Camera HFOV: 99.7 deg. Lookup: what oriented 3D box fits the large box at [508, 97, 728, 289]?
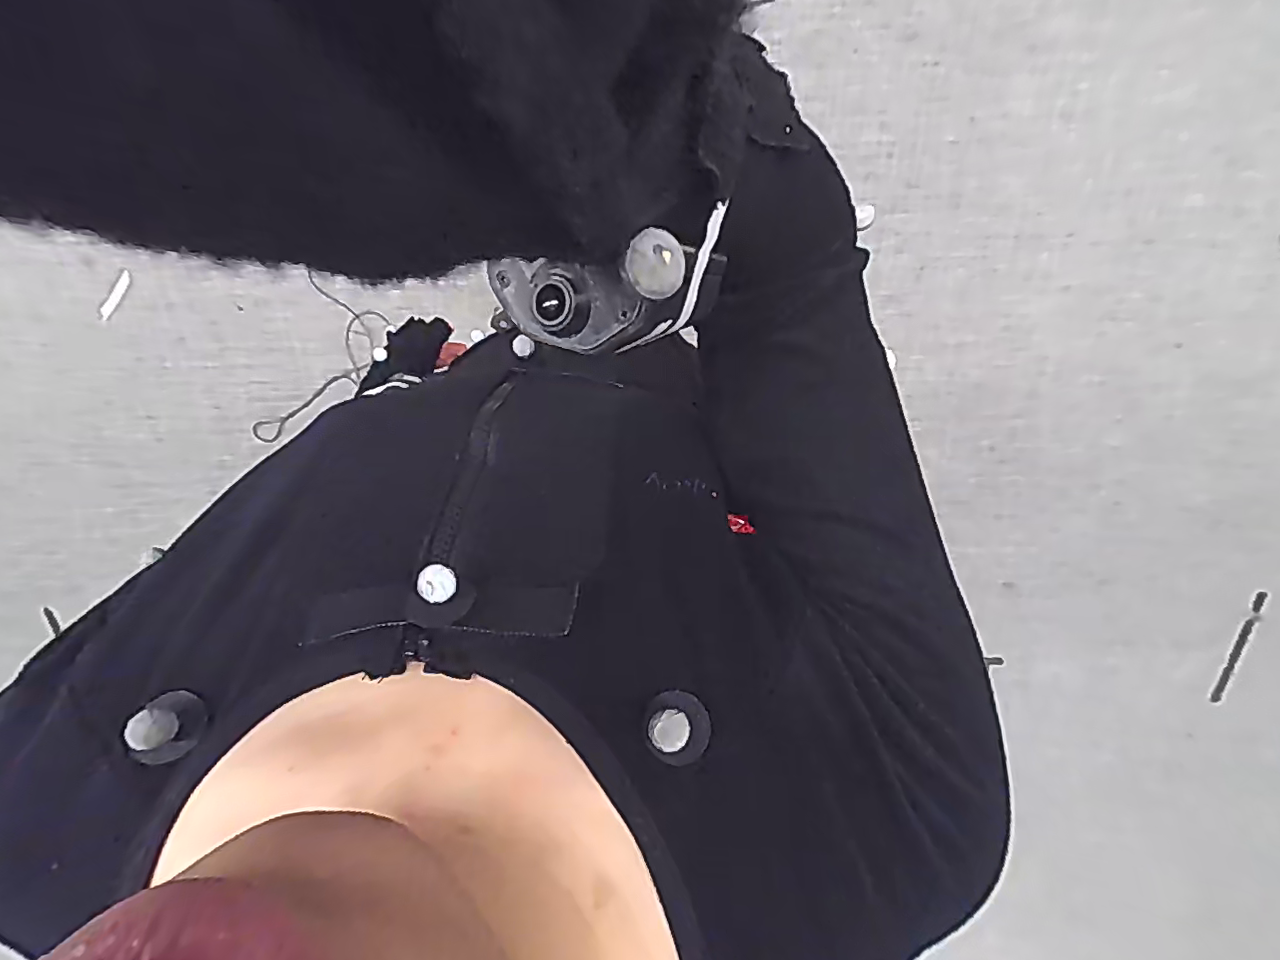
[{"bbox_3d":[-0.045,-0.581,1.156,0.408,0.320,0.320,3,110,0],"label":"large box"}]
